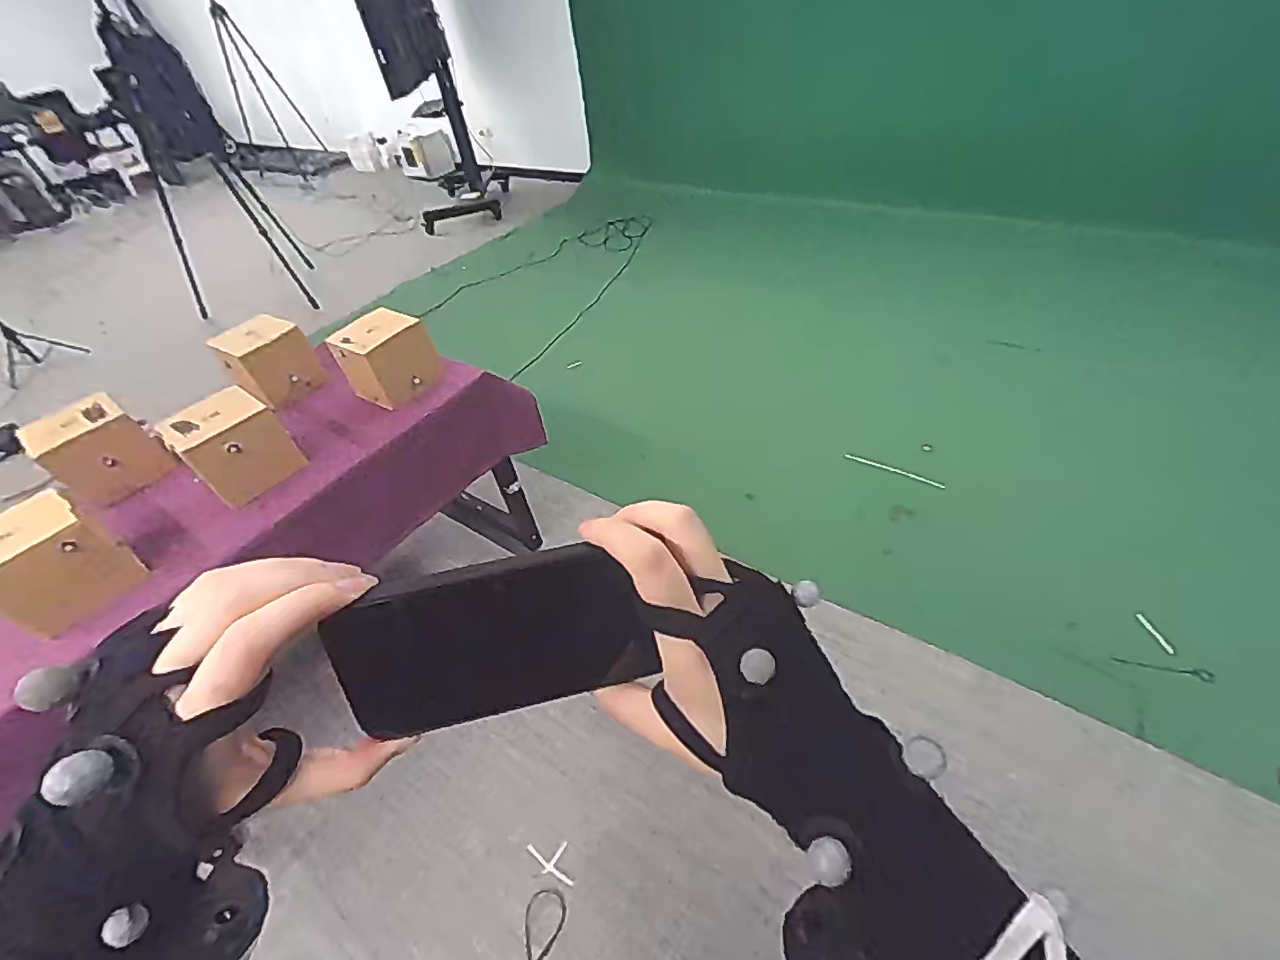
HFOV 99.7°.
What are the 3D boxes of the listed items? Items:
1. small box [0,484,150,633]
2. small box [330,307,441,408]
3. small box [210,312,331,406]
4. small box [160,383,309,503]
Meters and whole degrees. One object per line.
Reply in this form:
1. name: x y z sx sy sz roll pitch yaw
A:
1. small box: -1.069 0.145 0.989 0.168 0.176 0.179 24 52 29
2. small box: -0.635 -0.313 1.380 0.168 0.176 0.179 22 52 28
3. small box: -0.975 -0.321 1.438 0.179 0.176 0.168 21 52 26
4. small box: -0.877 -0.079 1.183 0.168 0.176 0.179 26 53 30
